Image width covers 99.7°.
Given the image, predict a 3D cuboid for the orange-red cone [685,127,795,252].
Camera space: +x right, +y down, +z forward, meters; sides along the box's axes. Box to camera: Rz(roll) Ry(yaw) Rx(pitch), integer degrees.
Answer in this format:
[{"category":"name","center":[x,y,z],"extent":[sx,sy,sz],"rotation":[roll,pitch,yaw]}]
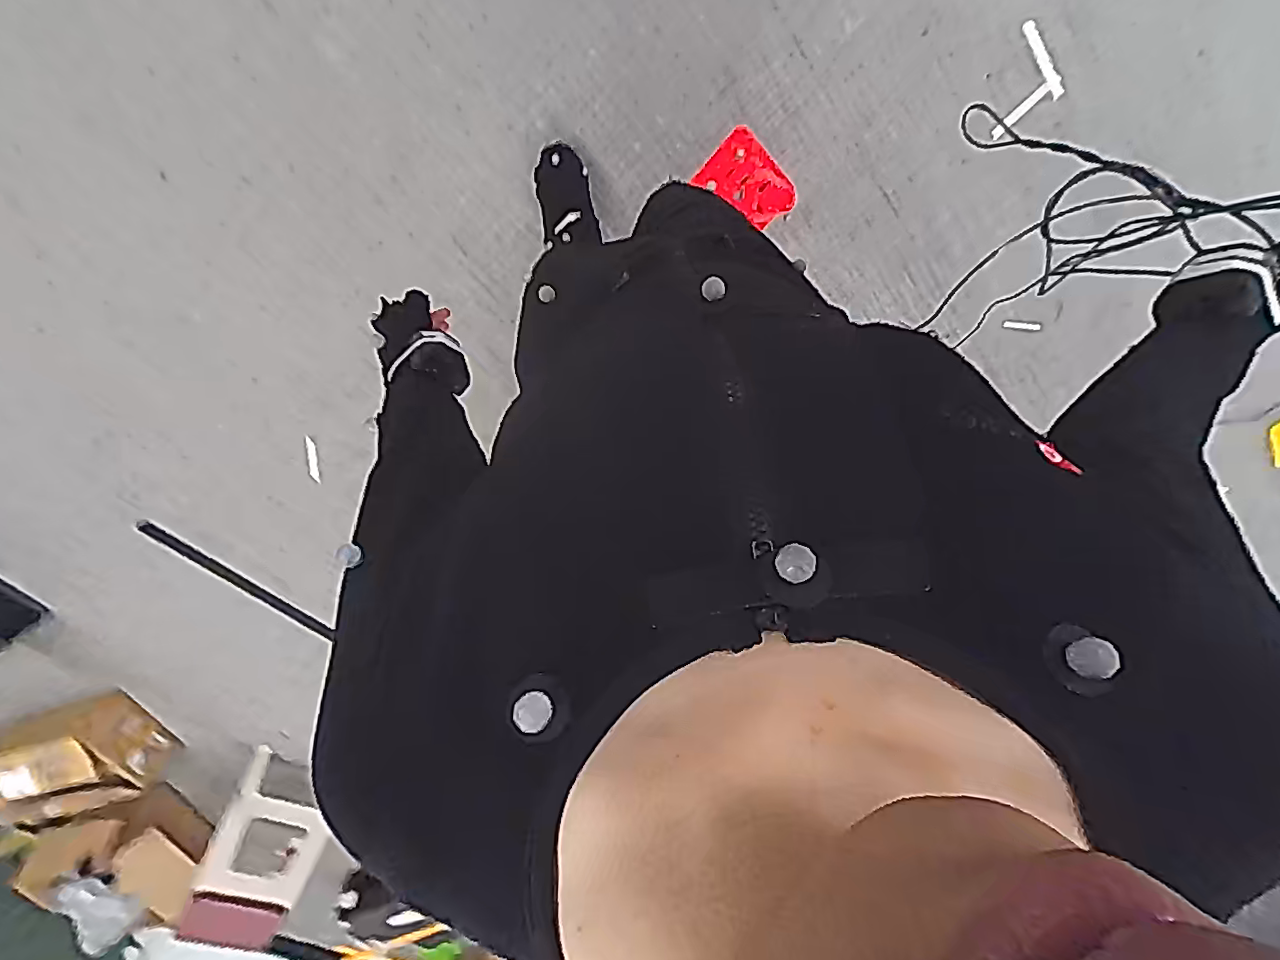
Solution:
[{"category":"orange-red cone","center":[0.234,-0.566,1.074],"extent":[0.198,0.360,0.199],"rotation":[39,111,-22]}]
